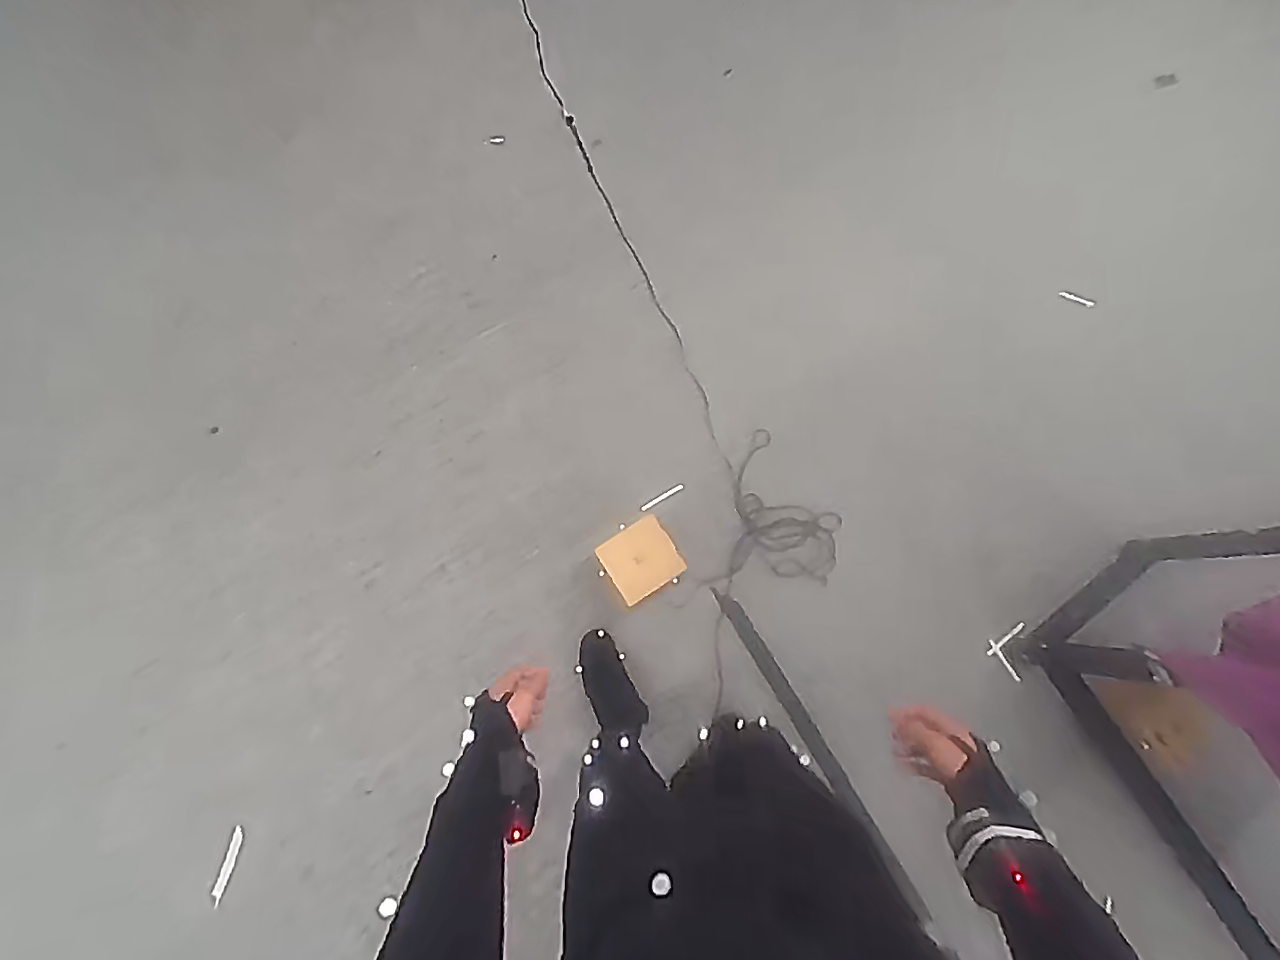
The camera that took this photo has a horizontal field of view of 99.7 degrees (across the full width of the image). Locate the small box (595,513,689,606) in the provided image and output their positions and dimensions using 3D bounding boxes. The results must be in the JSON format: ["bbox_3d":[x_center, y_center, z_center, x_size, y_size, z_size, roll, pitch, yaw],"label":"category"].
[{"bbox_3d":[-0.002,0.208,1.385,0.179,0.176,0.168,-33,84,-12],"label":"small box"}]
